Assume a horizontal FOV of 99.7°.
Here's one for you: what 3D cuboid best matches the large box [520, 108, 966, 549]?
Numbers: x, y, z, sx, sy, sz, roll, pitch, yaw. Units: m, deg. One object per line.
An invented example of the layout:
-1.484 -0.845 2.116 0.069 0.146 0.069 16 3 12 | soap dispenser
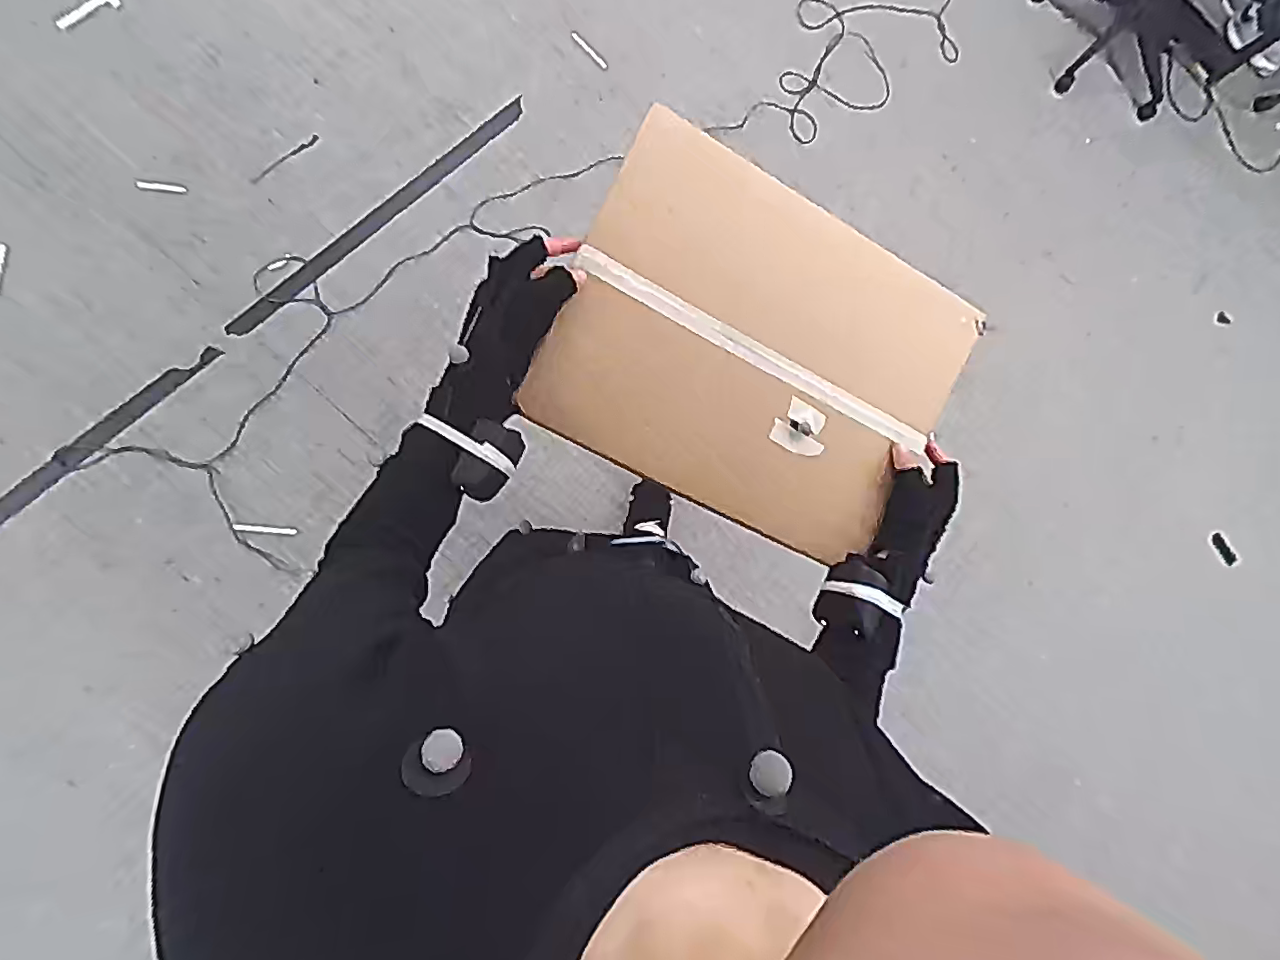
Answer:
0.092 -0.155 0.700 0.408 0.320 0.320 26 92 -12 | large box
